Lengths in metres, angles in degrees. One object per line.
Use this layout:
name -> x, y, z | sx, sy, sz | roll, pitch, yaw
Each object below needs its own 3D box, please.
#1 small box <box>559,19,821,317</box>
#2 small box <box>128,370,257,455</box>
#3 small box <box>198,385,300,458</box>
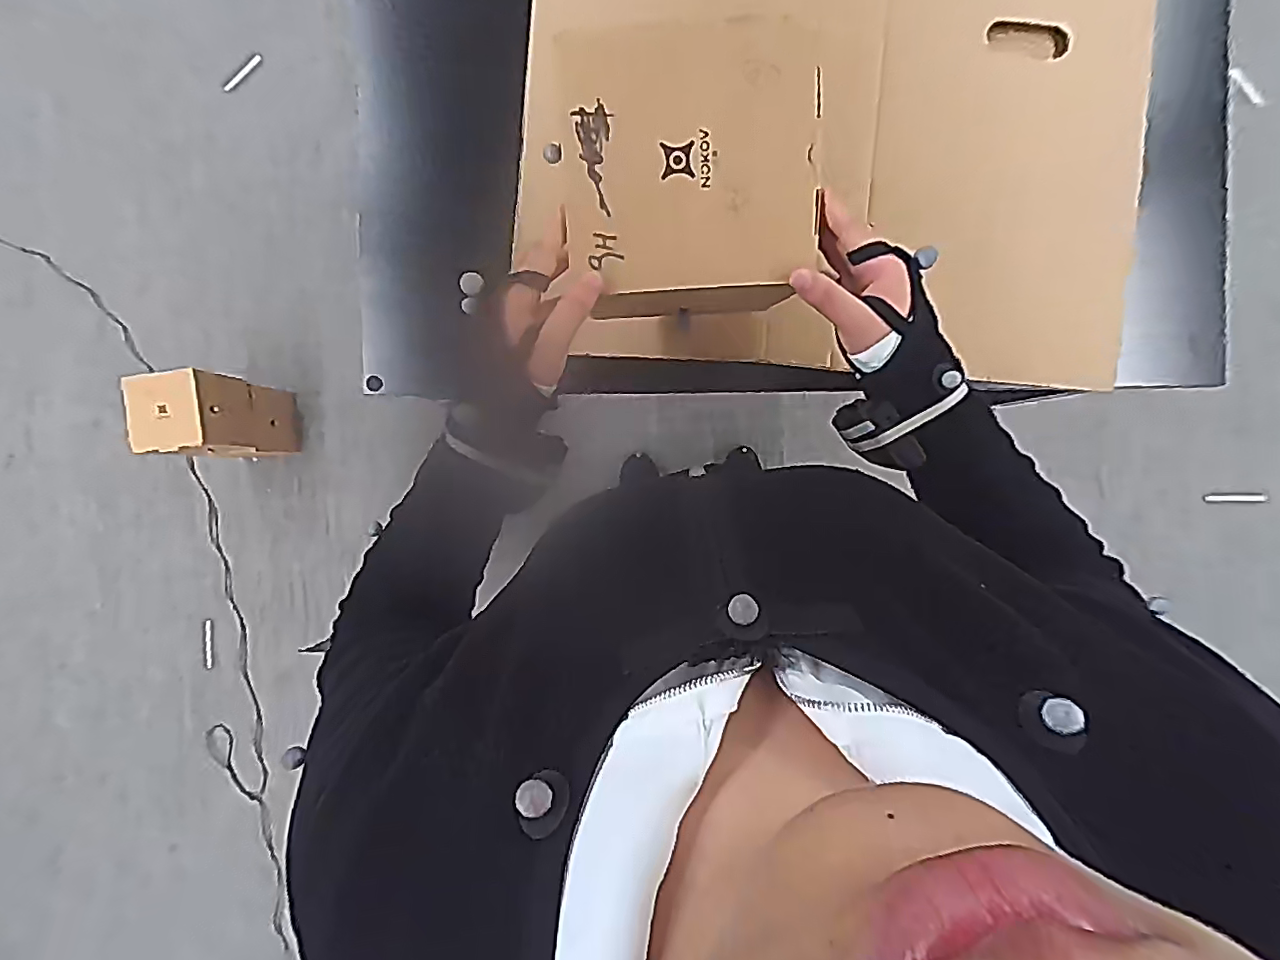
small box -> 0.034, -0.232, 0.446 | 0.179, 0.176, 0.168 | -3, 99, 0
small box -> -1.055, -0.155, 1.289 | 0.168, 0.176, 0.179 | -7, 90, 1
small box -> -1.049, -0.152, 1.452 | 0.168, 0.176, 0.179 | -5, 92, 2
